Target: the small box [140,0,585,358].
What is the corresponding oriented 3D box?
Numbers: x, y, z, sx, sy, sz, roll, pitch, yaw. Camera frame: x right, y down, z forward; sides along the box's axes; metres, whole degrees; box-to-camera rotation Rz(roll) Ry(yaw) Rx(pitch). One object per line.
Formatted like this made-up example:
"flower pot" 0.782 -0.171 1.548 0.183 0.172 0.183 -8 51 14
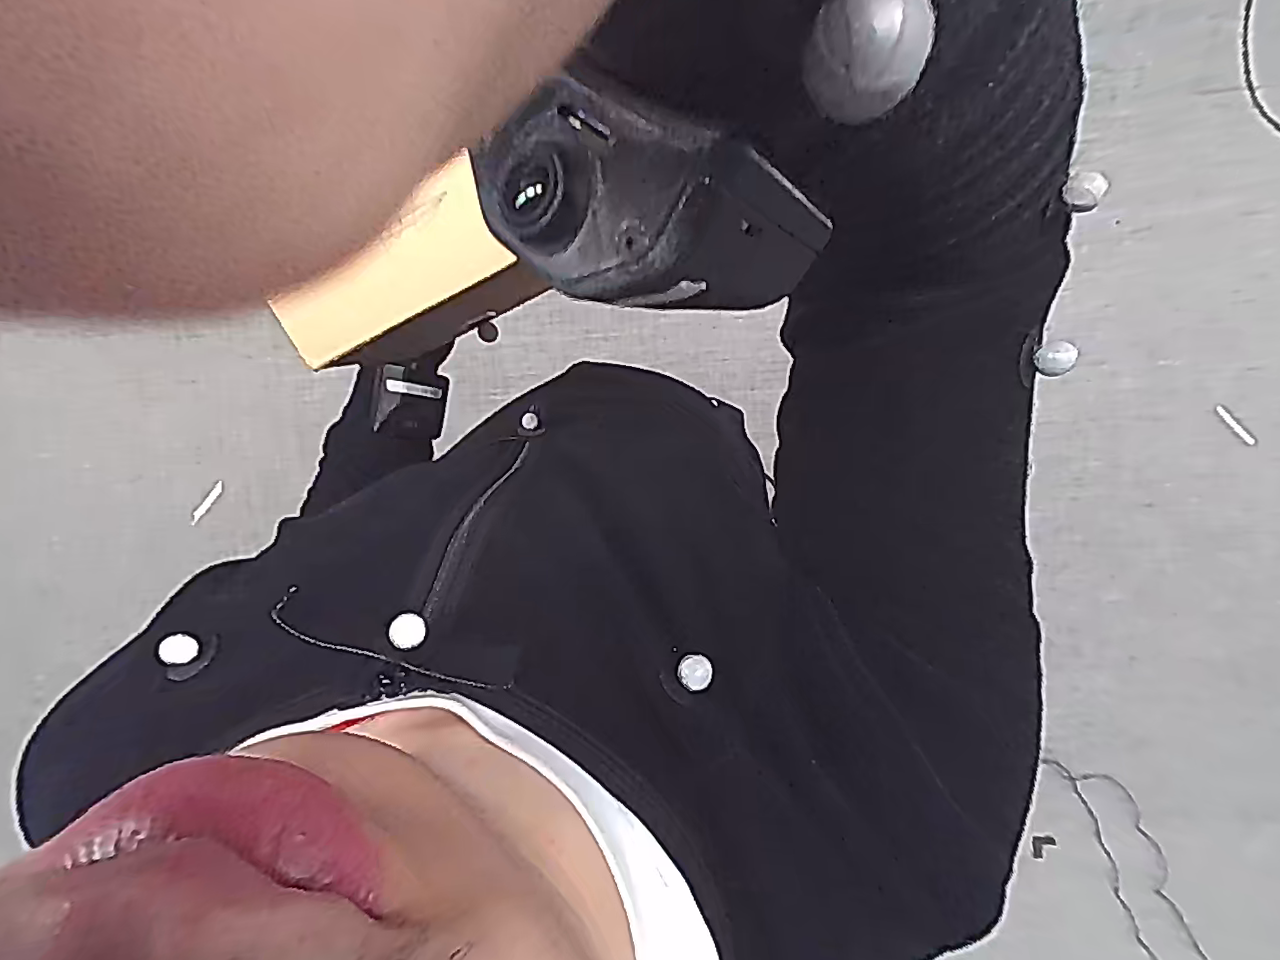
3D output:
"small box" -0.151 -0.197 0.367 0.168 0.176 0.179 -24 104 7
